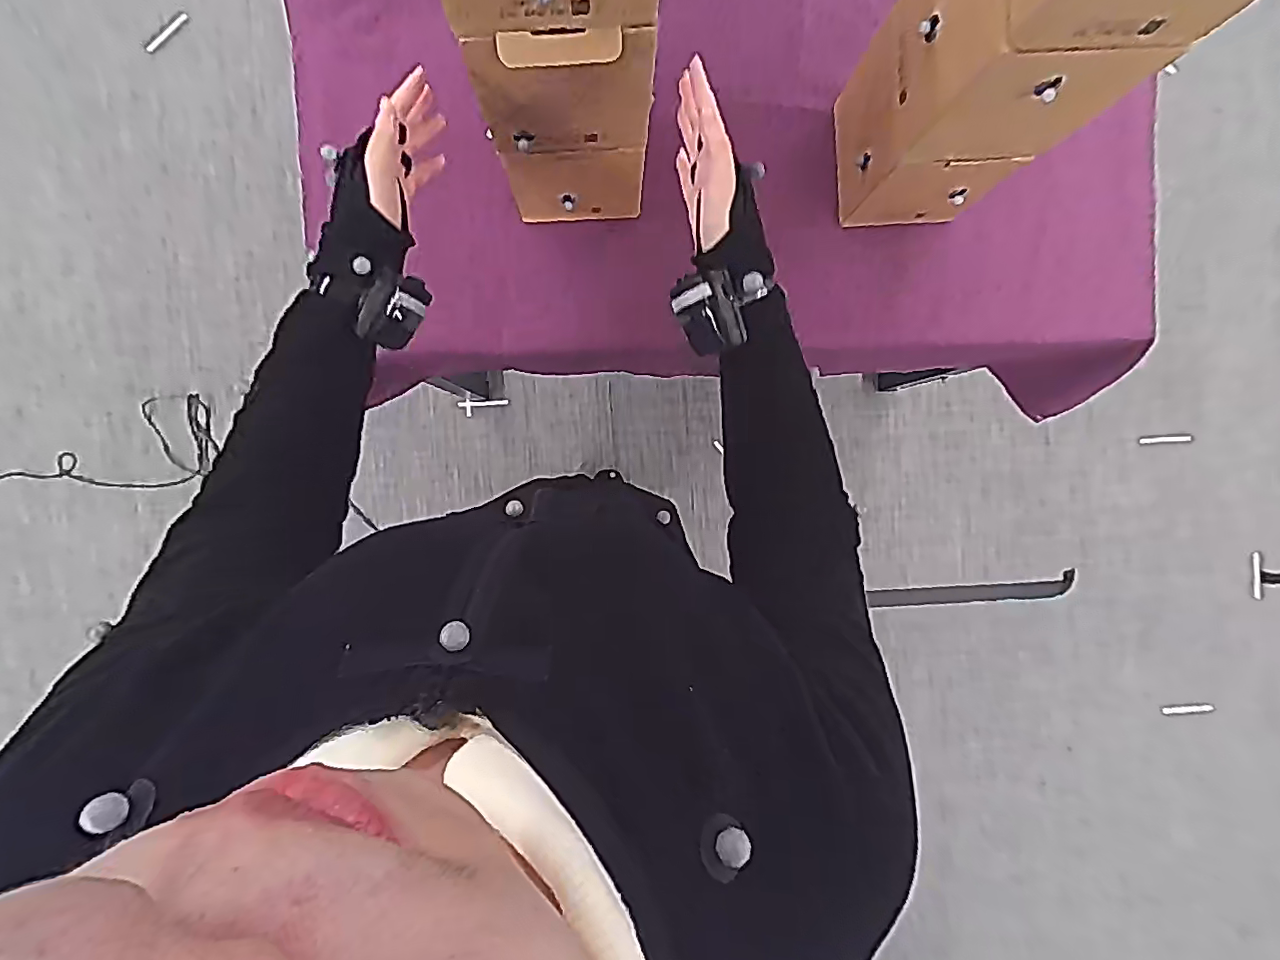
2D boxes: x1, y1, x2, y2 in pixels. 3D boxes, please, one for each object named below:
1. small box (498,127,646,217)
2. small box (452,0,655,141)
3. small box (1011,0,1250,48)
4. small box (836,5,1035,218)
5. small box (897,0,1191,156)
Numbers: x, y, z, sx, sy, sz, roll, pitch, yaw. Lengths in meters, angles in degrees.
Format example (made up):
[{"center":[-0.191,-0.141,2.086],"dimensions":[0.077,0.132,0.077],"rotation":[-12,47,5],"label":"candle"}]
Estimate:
[{"center":[-0.084,-0.455,0.675],"dimensions":[0.168,0.176,0.179],"rotation":[-4,93,-3],"label":"small box"},{"center":[-0.077,-0.449,0.511],"dimensions":[0.168,0.176,0.179],"rotation":[-5,92,-3],"label":"small box"},{"center":[0.385,-0.445,0.366],"dimensions":[0.168,0.176,0.179],"rotation":[-3,92,-3],"label":"small box"},{"center":[0.365,-0.454,0.694],"dimensions":[0.168,0.176,0.179],"rotation":[-3,92,-3],"label":"small box"},{"center":[0.372,-0.445,0.530],"dimensions":[0.179,0.176,0.168],"rotation":[-4,93,-3],"label":"small box"}]
